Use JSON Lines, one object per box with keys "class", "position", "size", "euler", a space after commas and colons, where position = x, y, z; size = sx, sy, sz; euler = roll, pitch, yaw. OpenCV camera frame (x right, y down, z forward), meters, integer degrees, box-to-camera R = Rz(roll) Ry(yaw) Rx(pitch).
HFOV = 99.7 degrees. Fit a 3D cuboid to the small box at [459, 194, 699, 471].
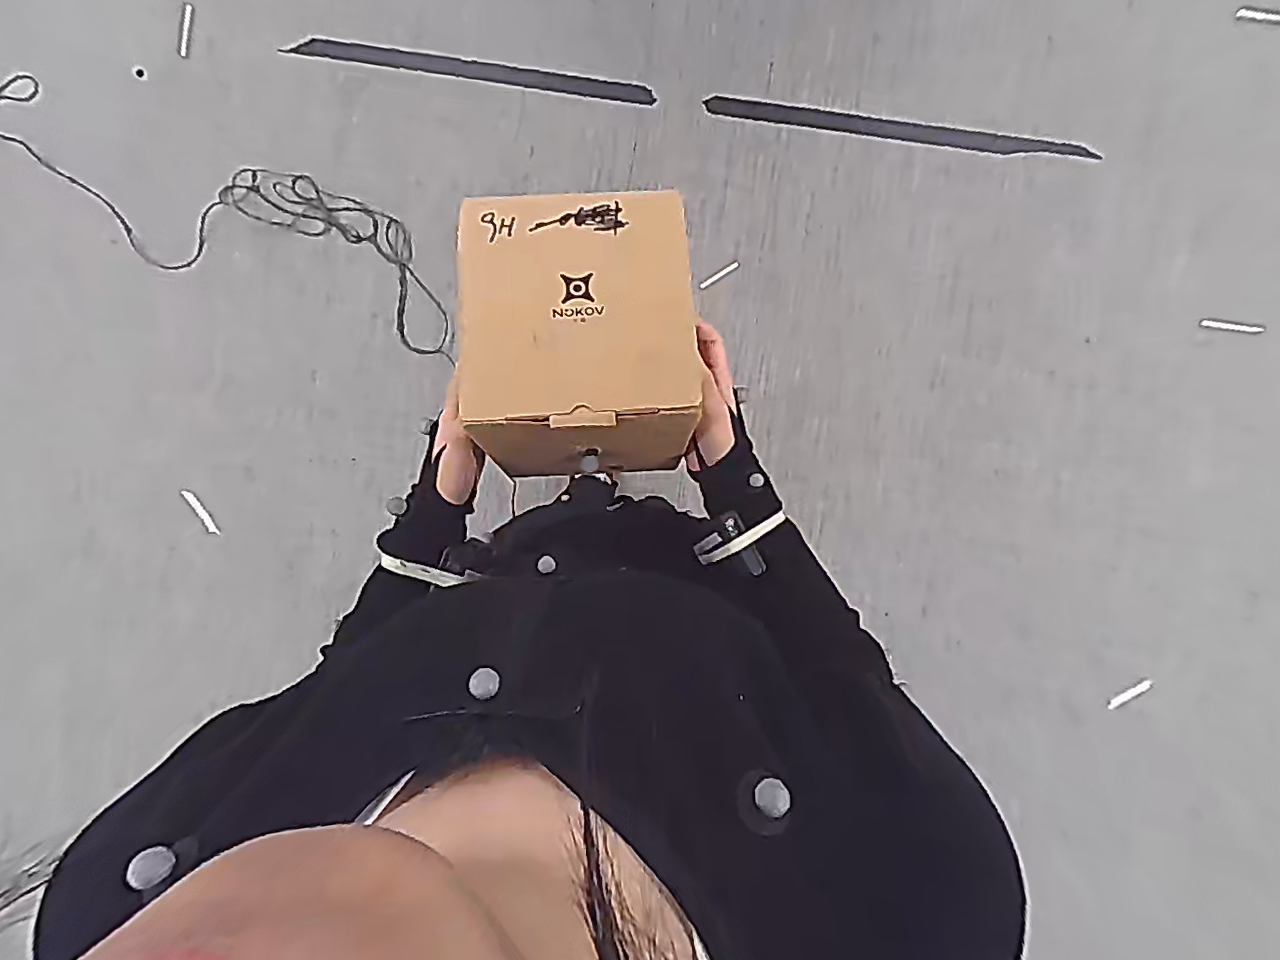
{"class": "small box", "position": [-0.046, -0.106, 0.457], "size": [0.168, 0.176, 0.179], "euler": [-3, 78, -3]}
